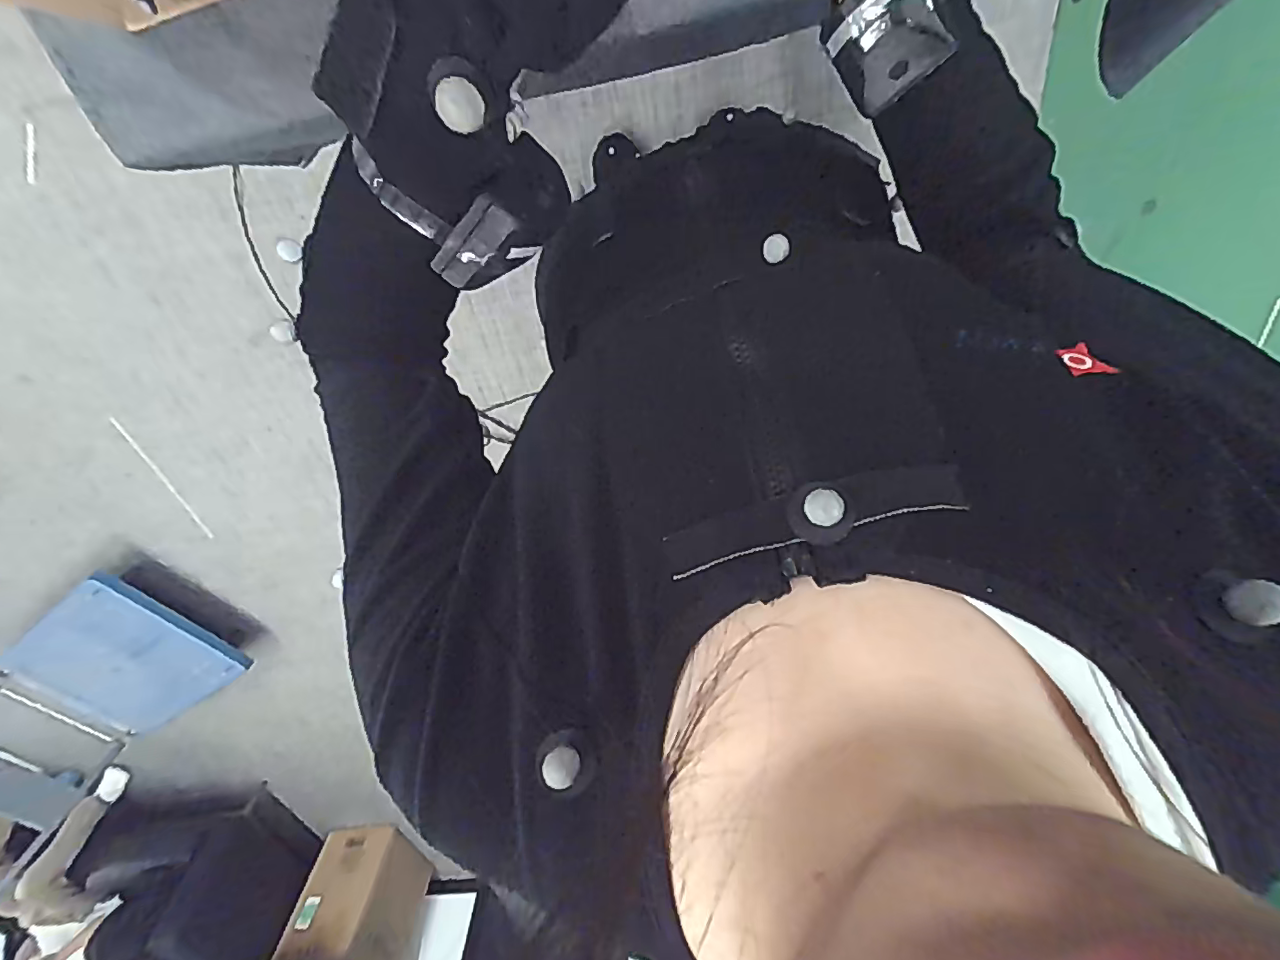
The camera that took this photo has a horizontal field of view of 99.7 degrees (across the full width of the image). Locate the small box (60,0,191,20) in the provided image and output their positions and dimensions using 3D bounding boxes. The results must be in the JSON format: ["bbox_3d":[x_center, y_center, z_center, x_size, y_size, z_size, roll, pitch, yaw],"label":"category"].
[{"bbox_3d":[-0.443,-0.485,0.401,0.168,0.176,0.179,-10,123,8],"label":"small box"}]
